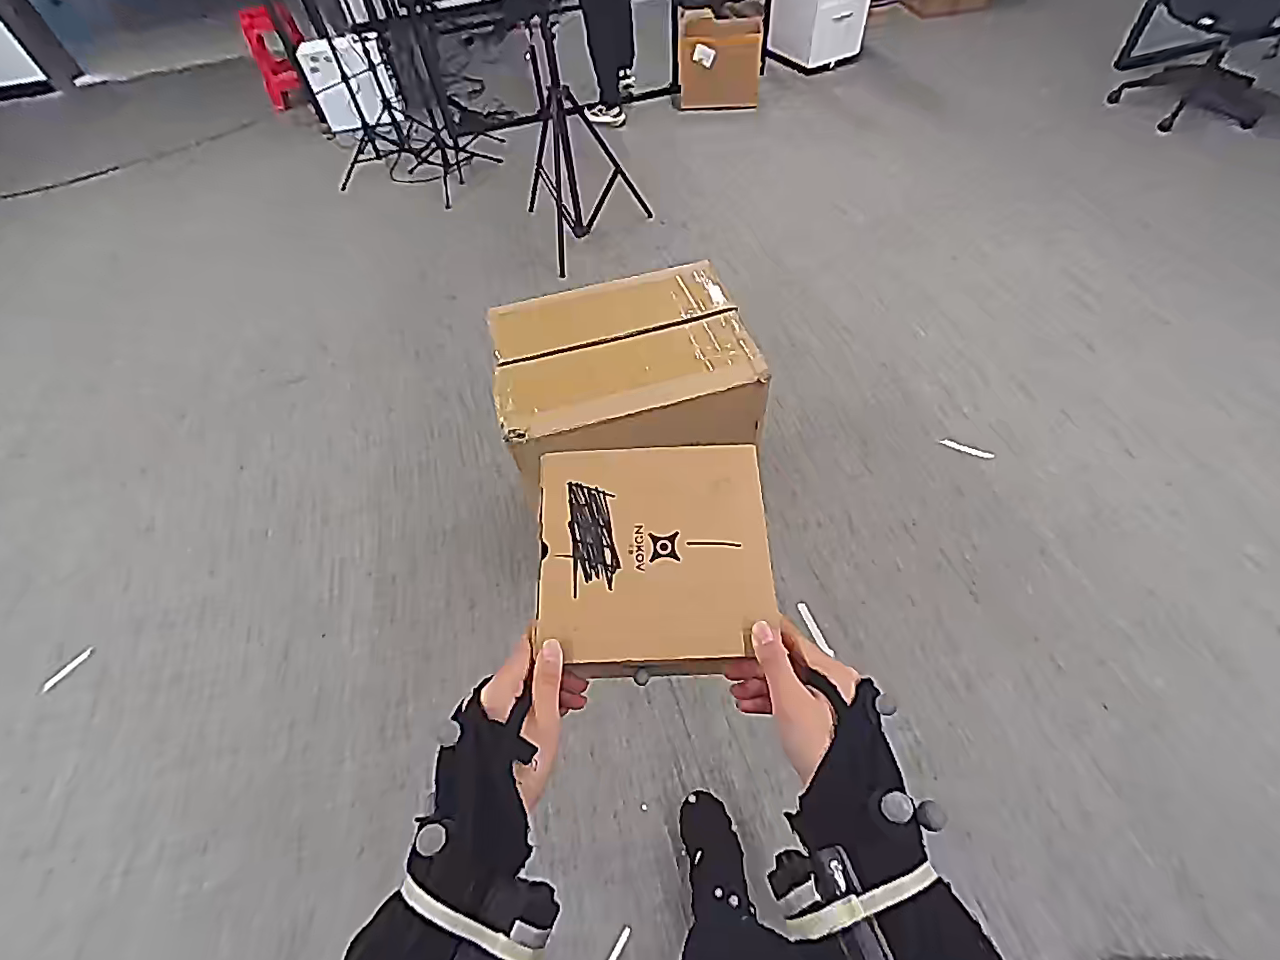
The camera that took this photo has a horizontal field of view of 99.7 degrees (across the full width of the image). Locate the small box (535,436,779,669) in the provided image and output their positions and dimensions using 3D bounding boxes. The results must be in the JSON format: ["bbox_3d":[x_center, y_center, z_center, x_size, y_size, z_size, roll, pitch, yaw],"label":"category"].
[{"bbox_3d":[0.012,0.074,0.485,0.179,0.176,0.168,-2,66,0],"label":"small box"}]
